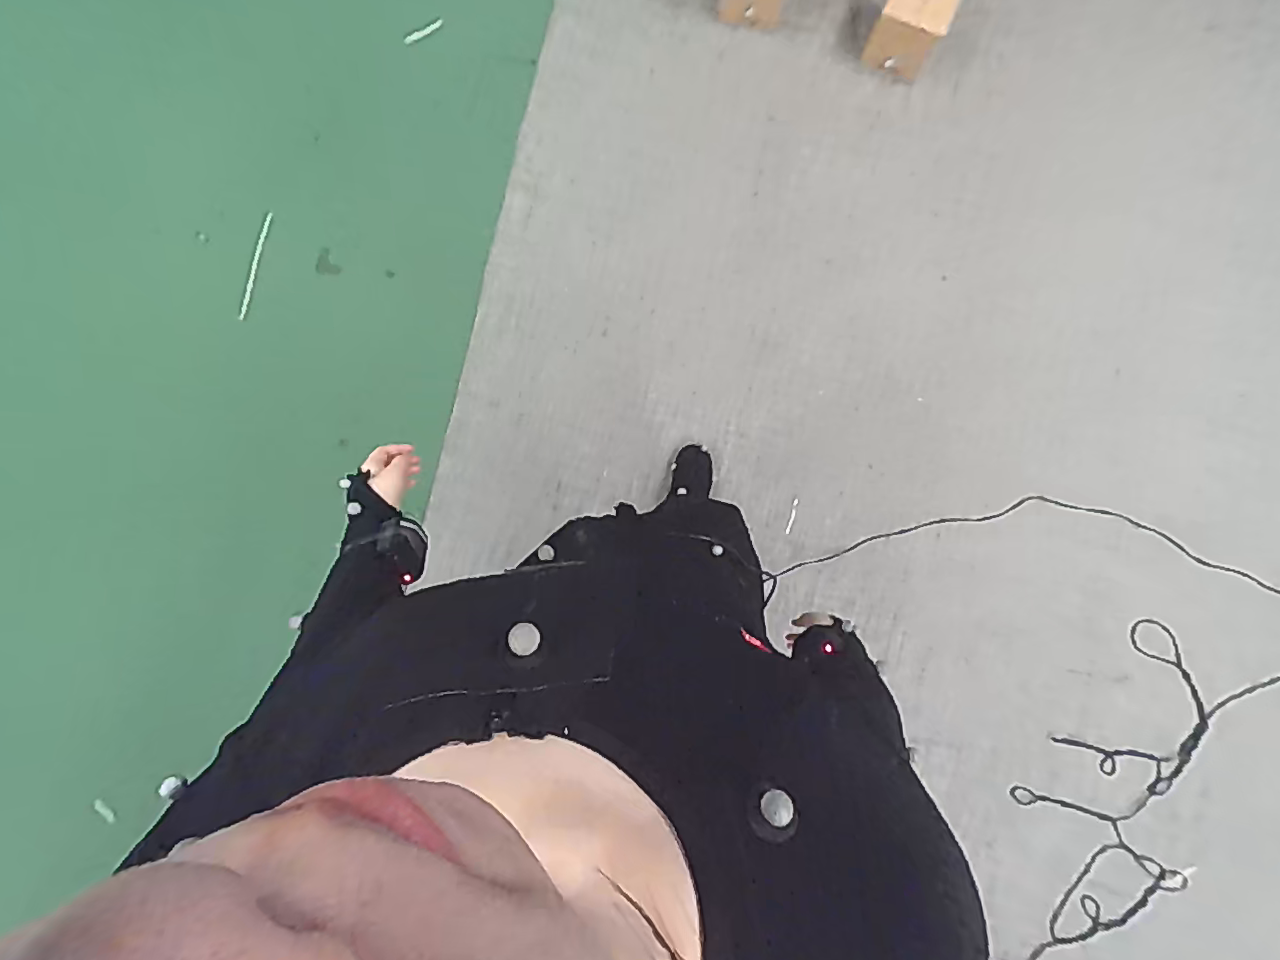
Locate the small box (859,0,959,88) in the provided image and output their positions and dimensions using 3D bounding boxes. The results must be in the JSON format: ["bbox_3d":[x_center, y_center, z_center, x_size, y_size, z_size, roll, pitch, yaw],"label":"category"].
[{"bbox_3d":[0.702,-1.187,1.412,0.168,0.176,0.179,24,90,2],"label":"small box"}]

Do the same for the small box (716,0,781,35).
[{"bbox_3d":[0.301,-1.337,1.425,0.168,0.176,0.179,10,89,1],"label":"small box"}]
